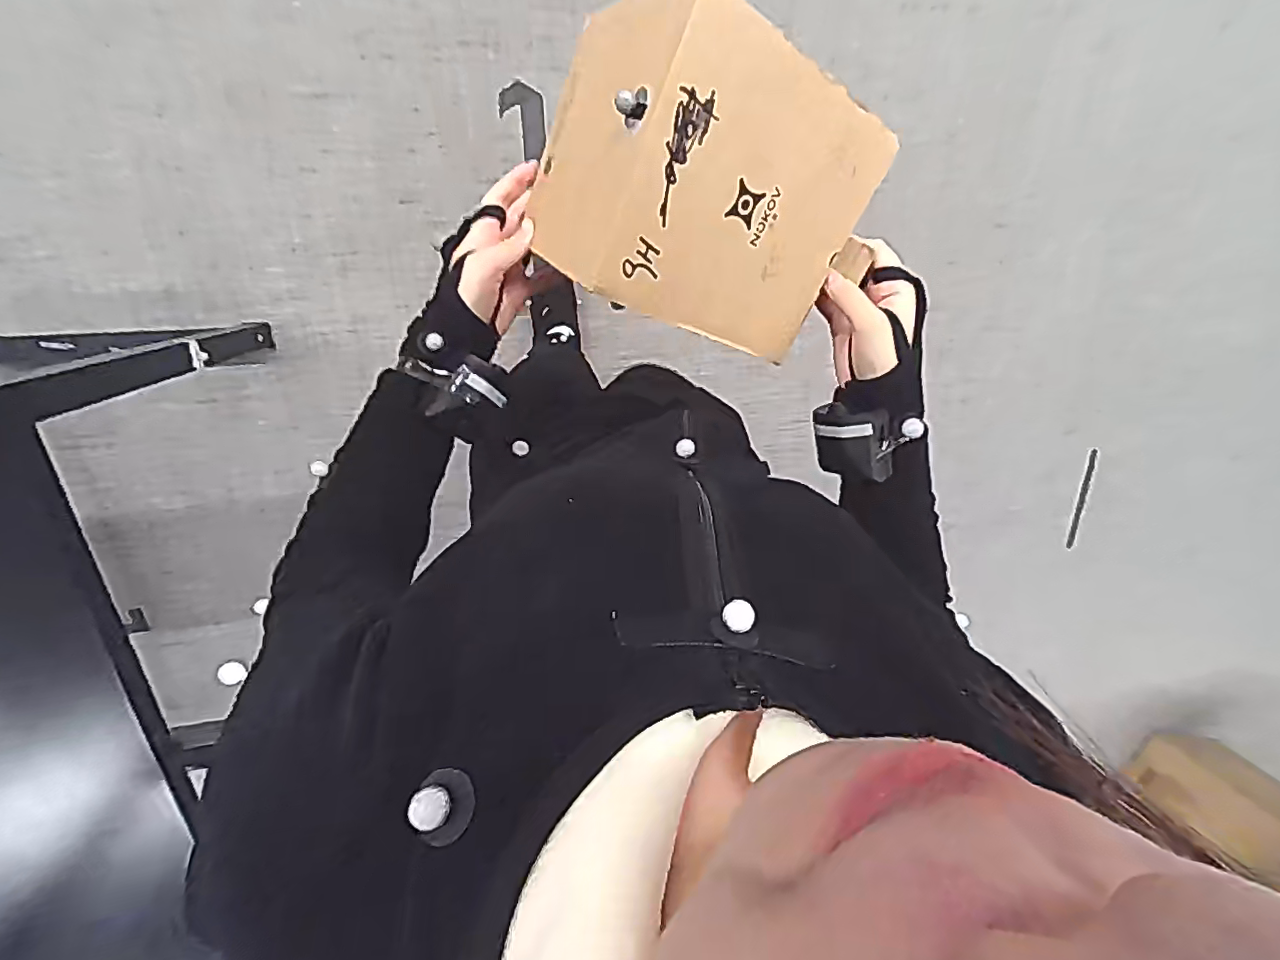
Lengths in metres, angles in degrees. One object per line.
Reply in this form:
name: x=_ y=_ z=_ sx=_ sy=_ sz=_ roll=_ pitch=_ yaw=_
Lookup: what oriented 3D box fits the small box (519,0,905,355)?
small box: x=0.038 y=-0.215 z=0.389 sx=0.179 sy=0.176 sz=0.168 roll=10 pitch=116 yaw=-36
